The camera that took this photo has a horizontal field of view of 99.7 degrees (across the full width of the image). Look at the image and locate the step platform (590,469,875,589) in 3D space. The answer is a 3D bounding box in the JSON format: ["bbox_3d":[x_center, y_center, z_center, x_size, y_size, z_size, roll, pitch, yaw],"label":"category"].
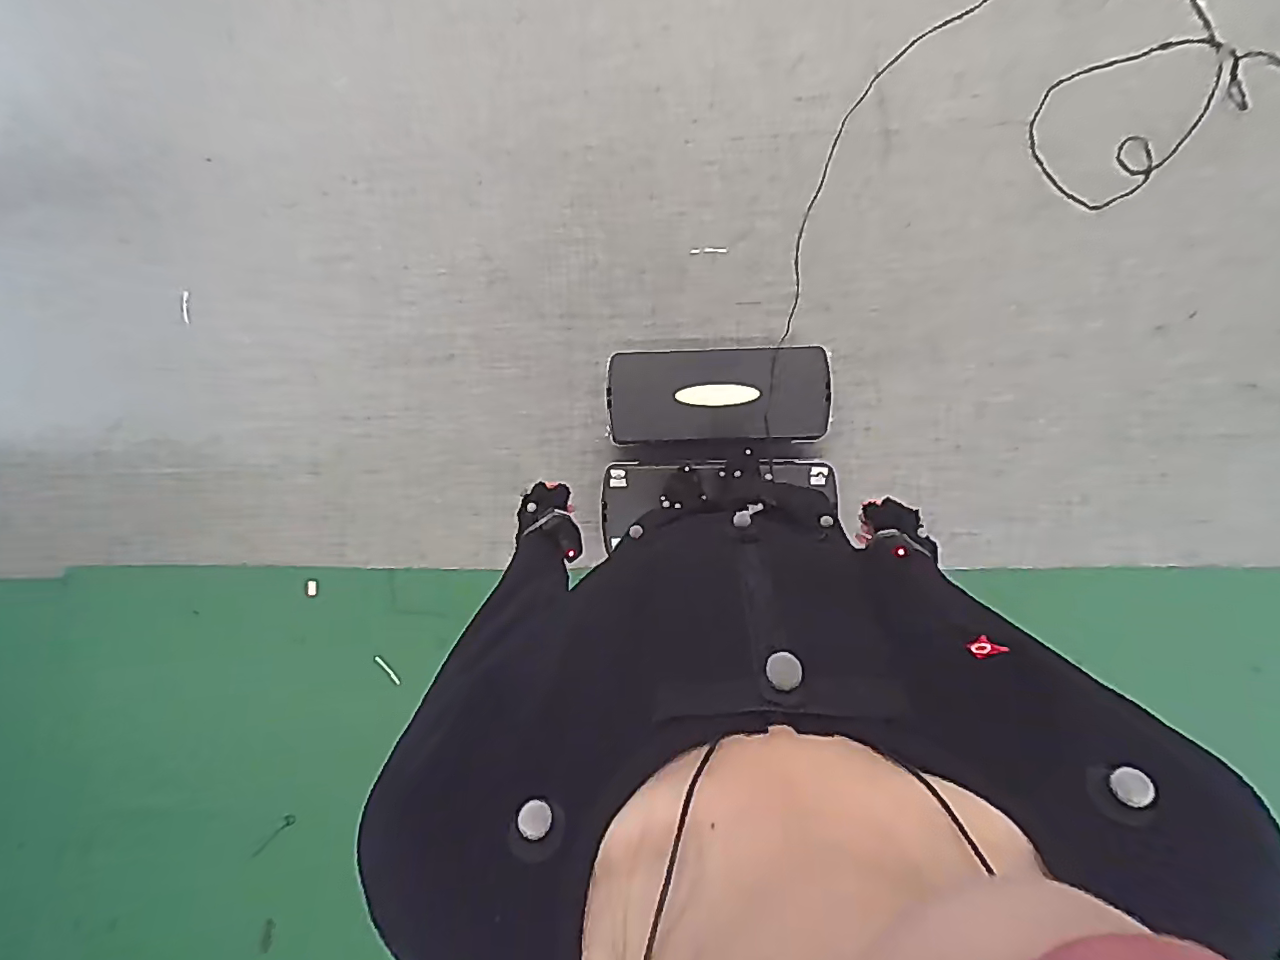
[{"bbox_3d":[0.222,0.118,1.389,0.684,0.204,0.286,-1,91,3],"label":"step platform"}]
